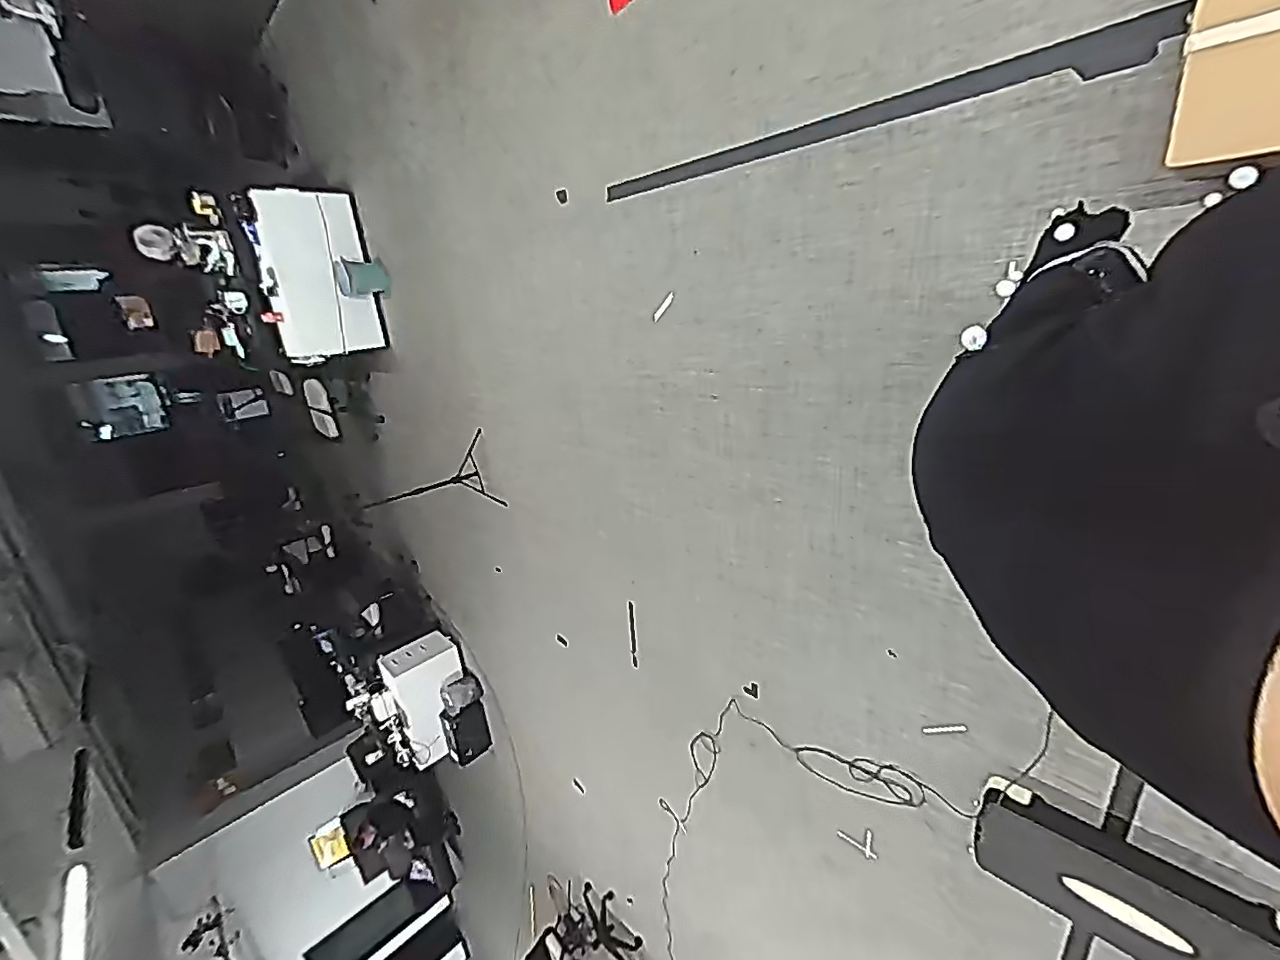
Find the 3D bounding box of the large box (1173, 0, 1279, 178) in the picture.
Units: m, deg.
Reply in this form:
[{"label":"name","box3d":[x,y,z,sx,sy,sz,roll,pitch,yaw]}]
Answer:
[{"label":"large box","box3d":[1.011,-0.620,0.710,0.408,0.320,0.320,14,117,43]}]
